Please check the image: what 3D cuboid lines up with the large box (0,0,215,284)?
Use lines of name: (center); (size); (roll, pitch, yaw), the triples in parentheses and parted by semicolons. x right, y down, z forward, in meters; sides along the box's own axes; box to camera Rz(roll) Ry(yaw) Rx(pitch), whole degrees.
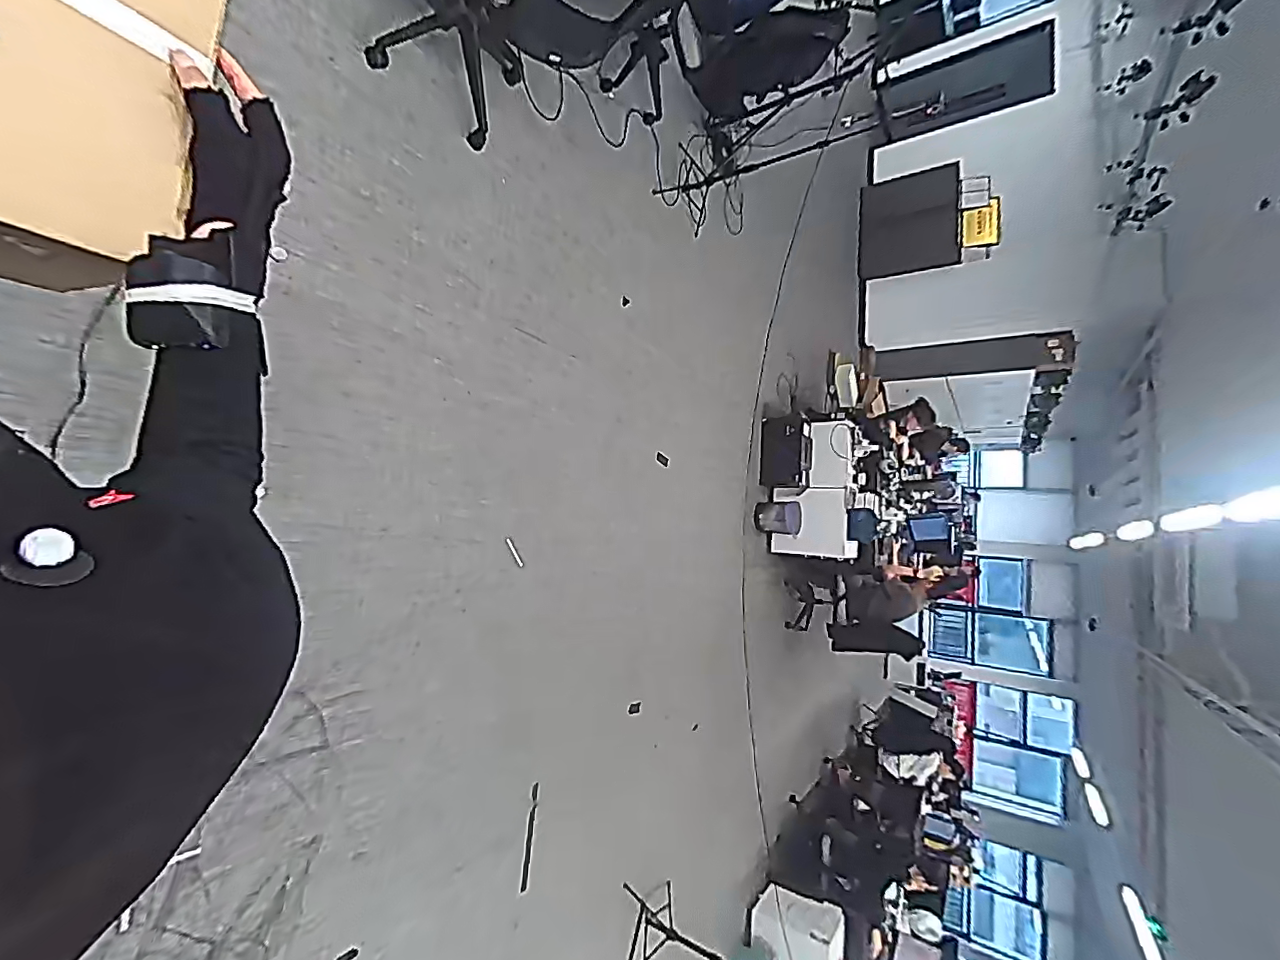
large box: (-0.571, -0.348, 0.327); (0.408, 0.320, 0.320); (10, 91, -60)
